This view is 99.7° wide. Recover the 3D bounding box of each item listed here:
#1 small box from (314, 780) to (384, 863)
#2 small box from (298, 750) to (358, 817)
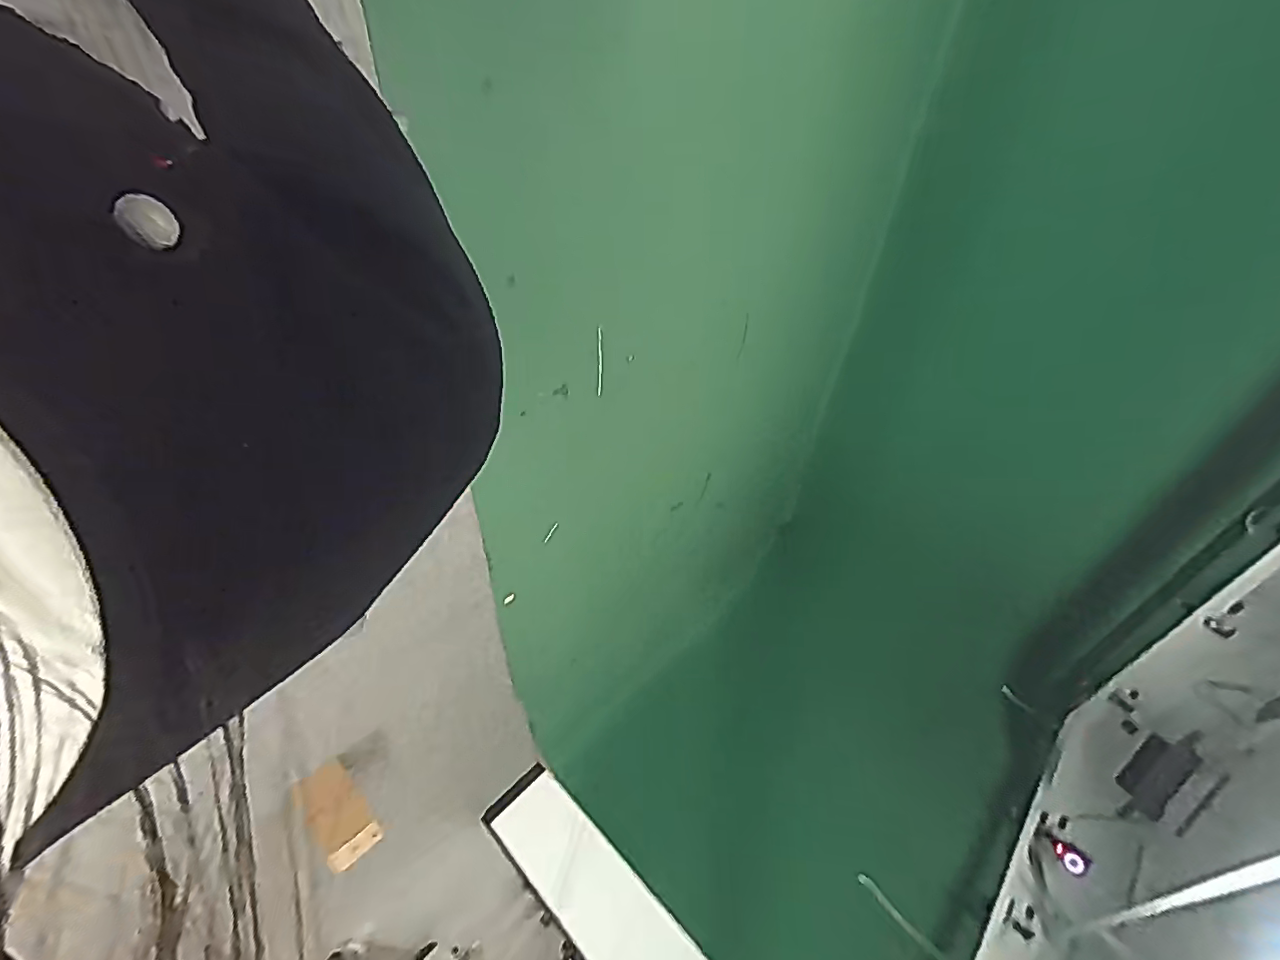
[{"bbox_3d":[-1.119,1.304,2.072,0.179,0.176,0.168,-30,142,-36],"label":"small box"},{"bbox_3d":[-1.234,1.228,2.156,0.179,0.176,0.168,-29,143,-38],"label":"small box"}]
